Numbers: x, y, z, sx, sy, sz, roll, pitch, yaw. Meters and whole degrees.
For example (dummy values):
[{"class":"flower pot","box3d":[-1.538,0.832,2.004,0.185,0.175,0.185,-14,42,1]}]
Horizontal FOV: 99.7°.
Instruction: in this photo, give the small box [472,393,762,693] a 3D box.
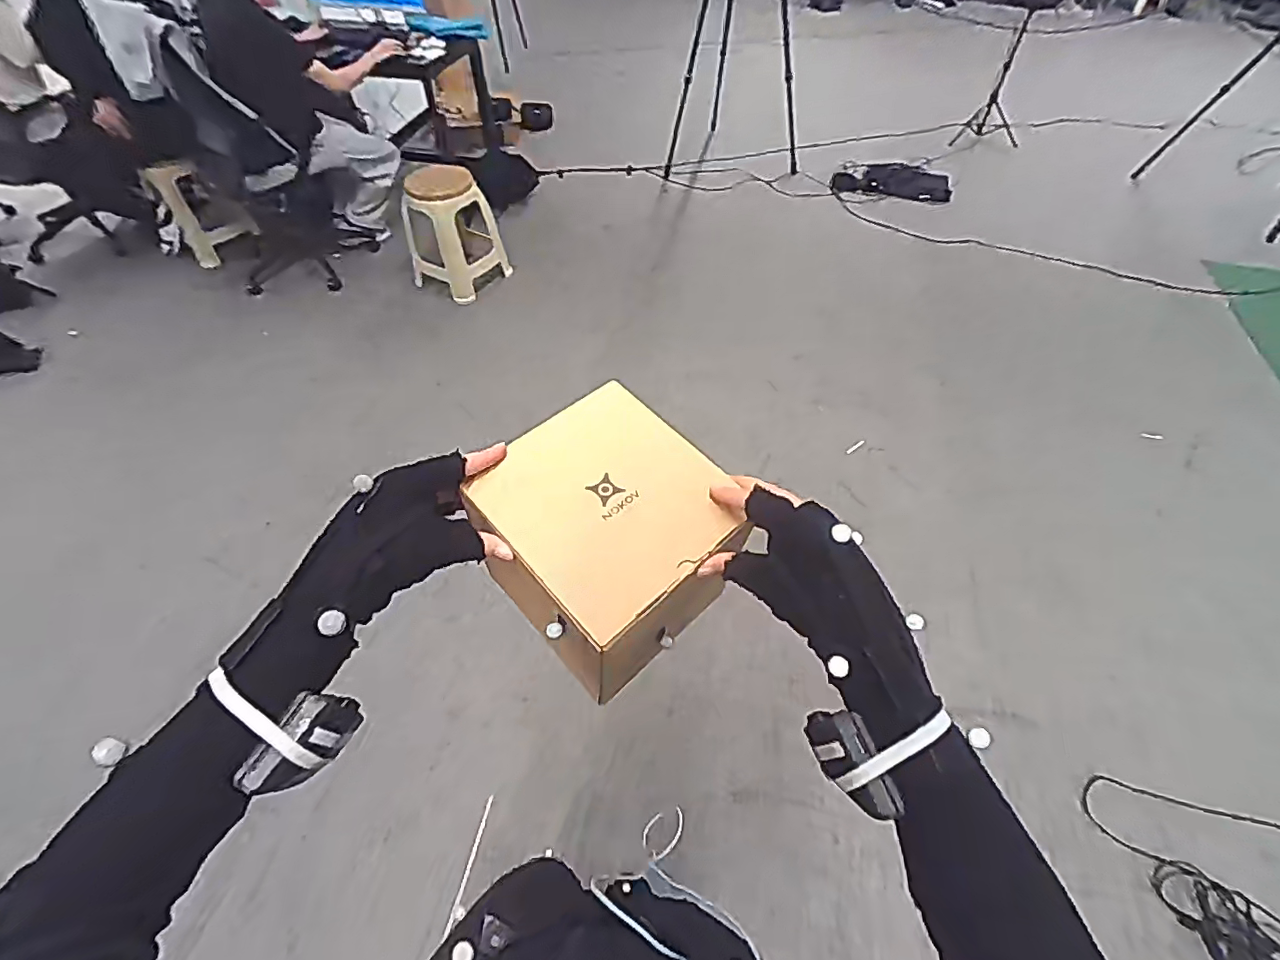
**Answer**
[{"class":"small box","box3d":[-0.027,0.061,0.491,0.168,0.176,0.179,-34,67,-26]}]
